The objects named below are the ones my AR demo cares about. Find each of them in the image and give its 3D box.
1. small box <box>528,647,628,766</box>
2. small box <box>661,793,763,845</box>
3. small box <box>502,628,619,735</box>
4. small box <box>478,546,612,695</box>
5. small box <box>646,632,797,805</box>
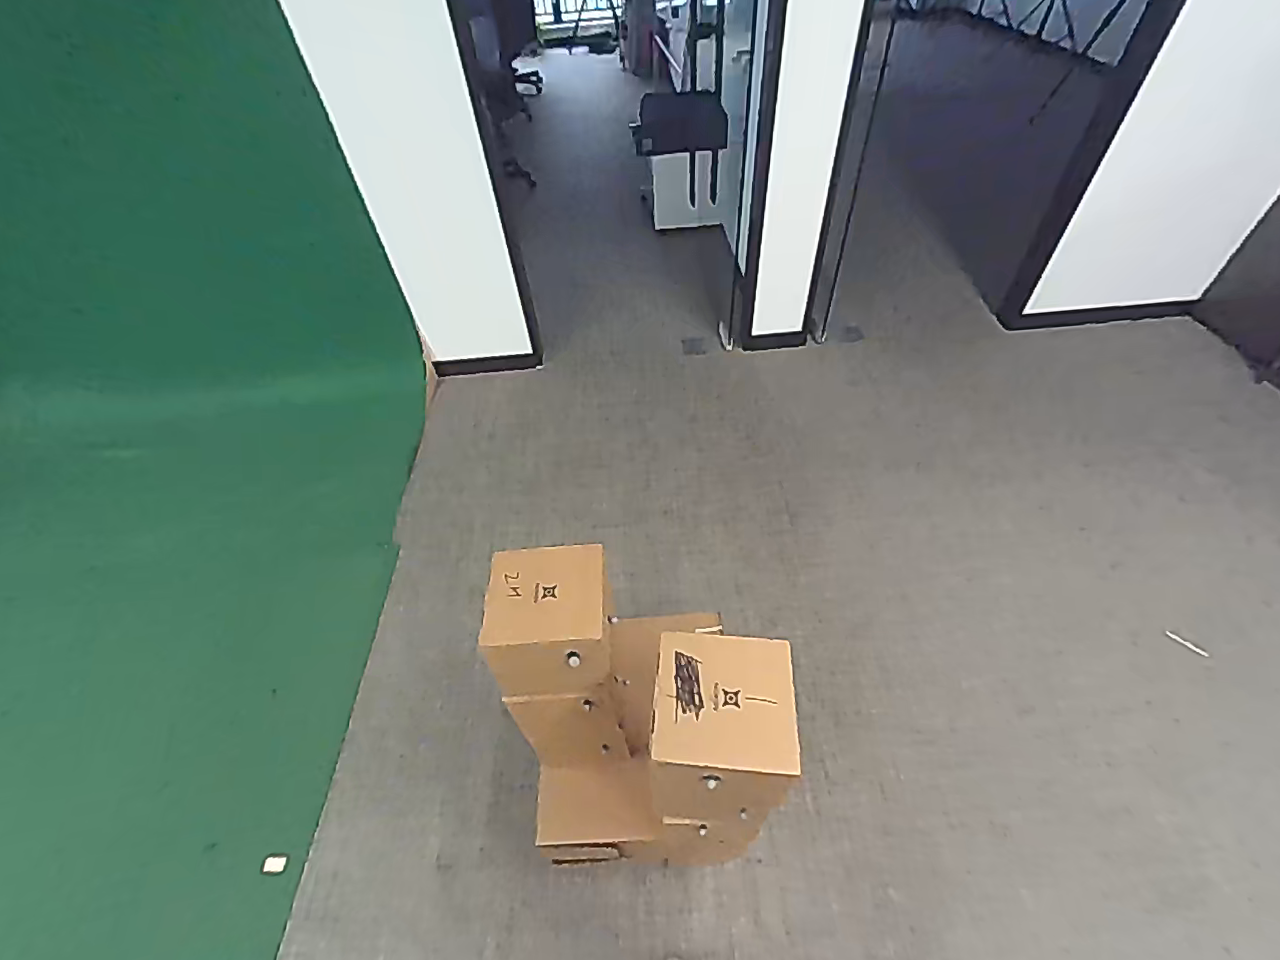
[{"bbox_3d":[-0.116,0.456,1.086,0.179,0.176,0.168,-7,45,0],"label":"small box"},{"bbox_3d":[0.122,0.541,0.983,0.168,0.176,0.179,-1,47,3],"label":"small box"},{"bbox_3d":[-0.134,0.343,0.971,0.179,0.176,0.168,-5,45,-1],"label":"small box"},{"bbox_3d":[-0.136,0.224,0.856,0.179,0.176,0.168,-4,45,1],"label":"small box"},{"bbox_3d":[0.105,0.326,0.734,0.179,0.176,0.168,3,48,5],"label":"small box"}]
